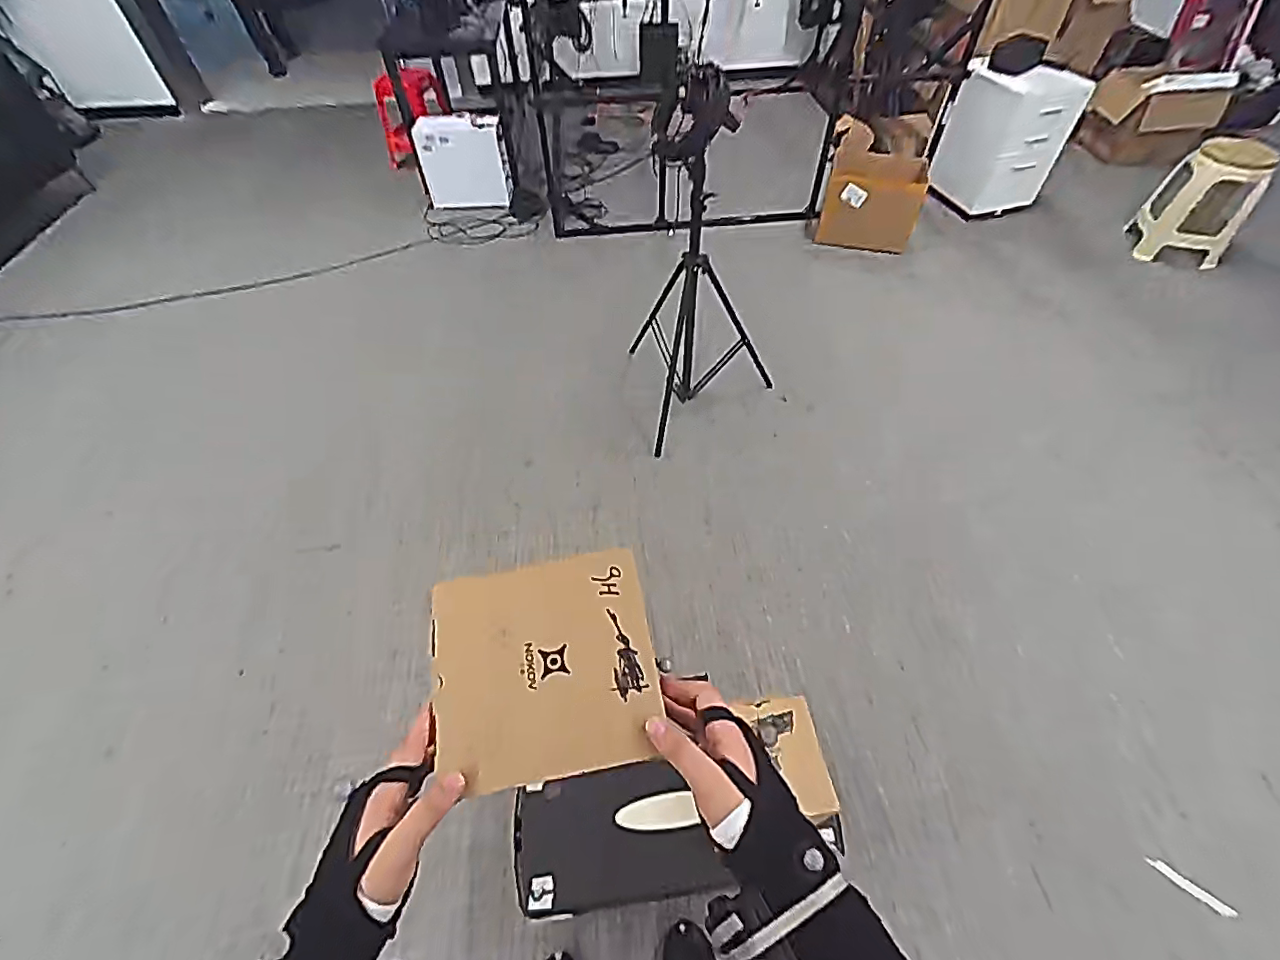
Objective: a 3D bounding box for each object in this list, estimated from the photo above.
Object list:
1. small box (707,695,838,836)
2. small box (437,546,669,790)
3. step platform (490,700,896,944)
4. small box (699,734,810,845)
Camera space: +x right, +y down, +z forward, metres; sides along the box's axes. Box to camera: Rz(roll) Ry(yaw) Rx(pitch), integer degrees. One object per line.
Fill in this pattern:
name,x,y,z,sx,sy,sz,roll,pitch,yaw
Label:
small box,0.216,0.498,0.942,0.168,0.176,0.179,-8,53,-4
small box,-0.072,0.180,0.503,0.179,0.176,0.168,-10,63,-3
step platform,0.087,0.627,1.009,0.684,0.204,0.286,-7,51,-4
small box,0.212,0.604,1.068,0.168,0.176,0.179,-8,52,-4
